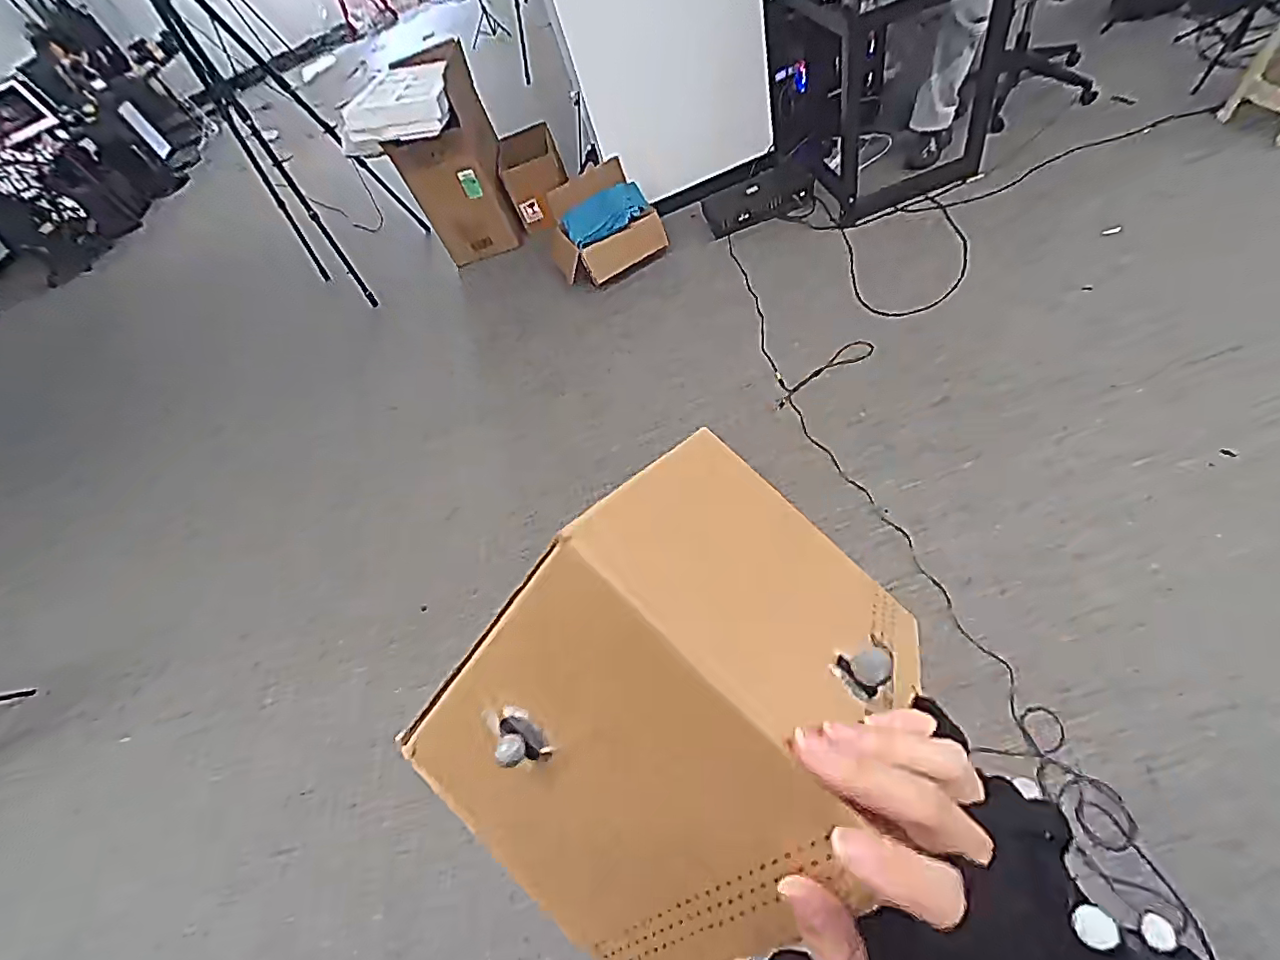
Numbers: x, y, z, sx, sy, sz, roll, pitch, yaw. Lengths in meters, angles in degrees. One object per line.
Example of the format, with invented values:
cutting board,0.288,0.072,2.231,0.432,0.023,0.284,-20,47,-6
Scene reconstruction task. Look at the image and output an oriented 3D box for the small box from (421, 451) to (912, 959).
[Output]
small box,0.020,0.118,0.305,0.176,0.179,0.168,42,31,6
